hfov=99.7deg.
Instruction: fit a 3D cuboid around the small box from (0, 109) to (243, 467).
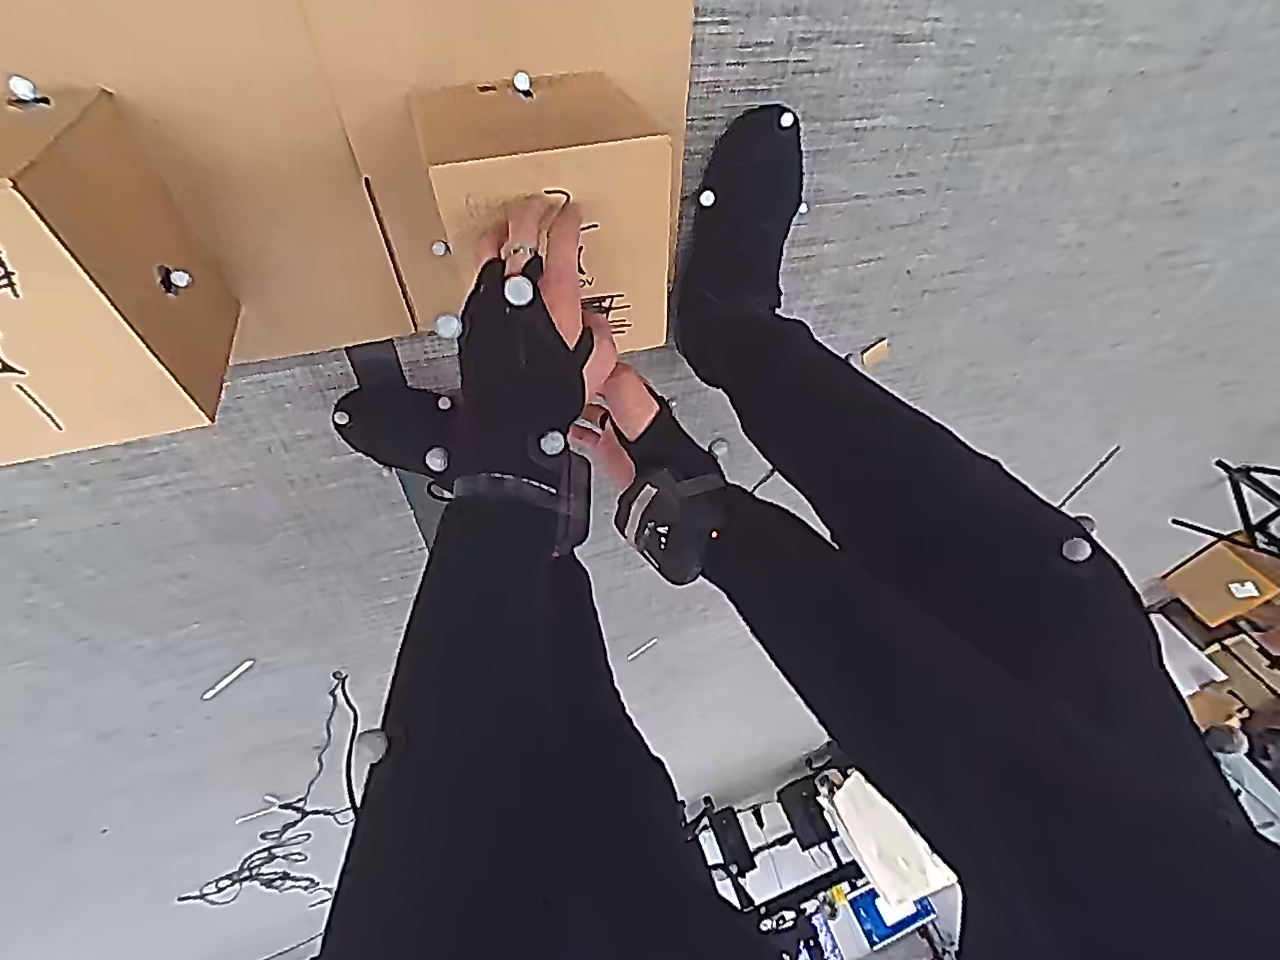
[{"bbox_3d":[-0.420,-0.138,0.380,0.168,0.176,0.179,-14,142,-12],"label":"small box"}]
